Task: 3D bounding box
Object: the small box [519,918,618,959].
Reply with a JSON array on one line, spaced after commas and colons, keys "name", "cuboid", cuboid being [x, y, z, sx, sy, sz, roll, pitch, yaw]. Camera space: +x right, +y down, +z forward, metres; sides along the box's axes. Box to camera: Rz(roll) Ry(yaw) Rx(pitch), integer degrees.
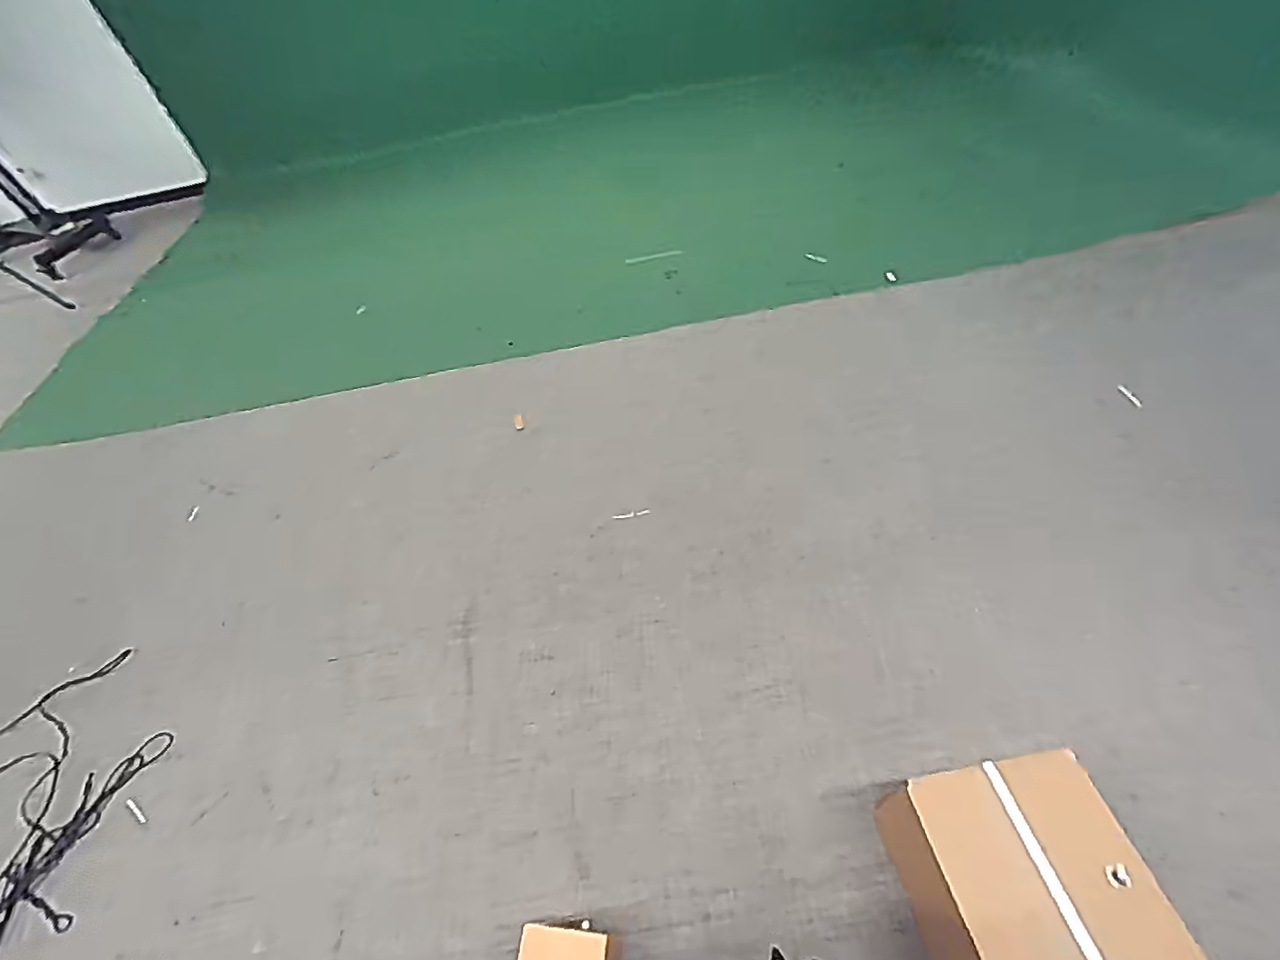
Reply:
[{"name": "small box", "cuboid": [-0.142, 0.971, 1.046, 0.168, 0.176, 0.179, 0, 51, 10]}]
